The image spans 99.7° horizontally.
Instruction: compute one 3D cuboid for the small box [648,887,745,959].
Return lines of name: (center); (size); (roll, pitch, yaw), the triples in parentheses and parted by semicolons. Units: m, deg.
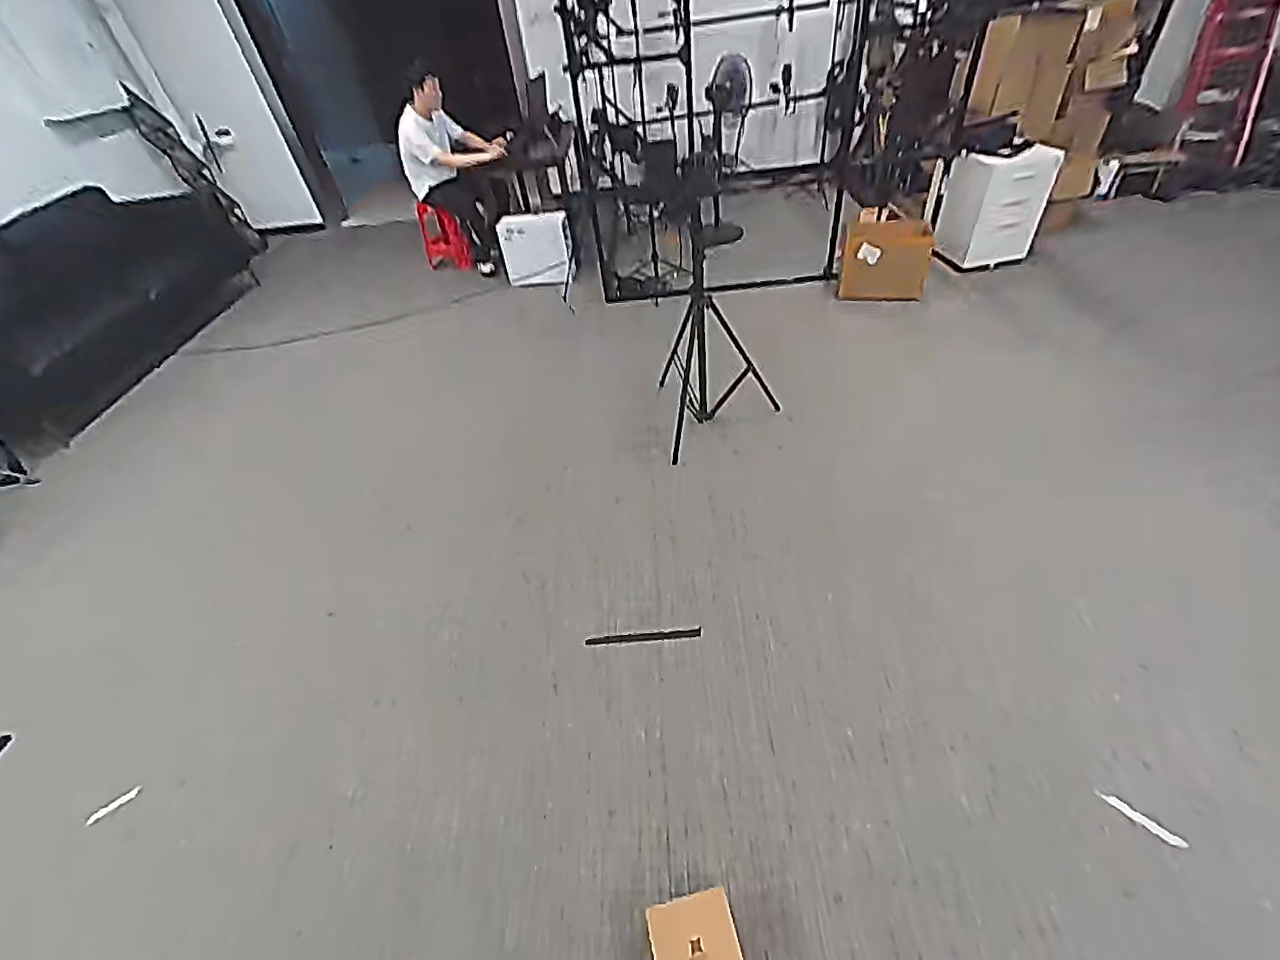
small box: (0.117, 0.947, 1.067); (0.168, 0.176, 0.179); (-13, 43, -5)
